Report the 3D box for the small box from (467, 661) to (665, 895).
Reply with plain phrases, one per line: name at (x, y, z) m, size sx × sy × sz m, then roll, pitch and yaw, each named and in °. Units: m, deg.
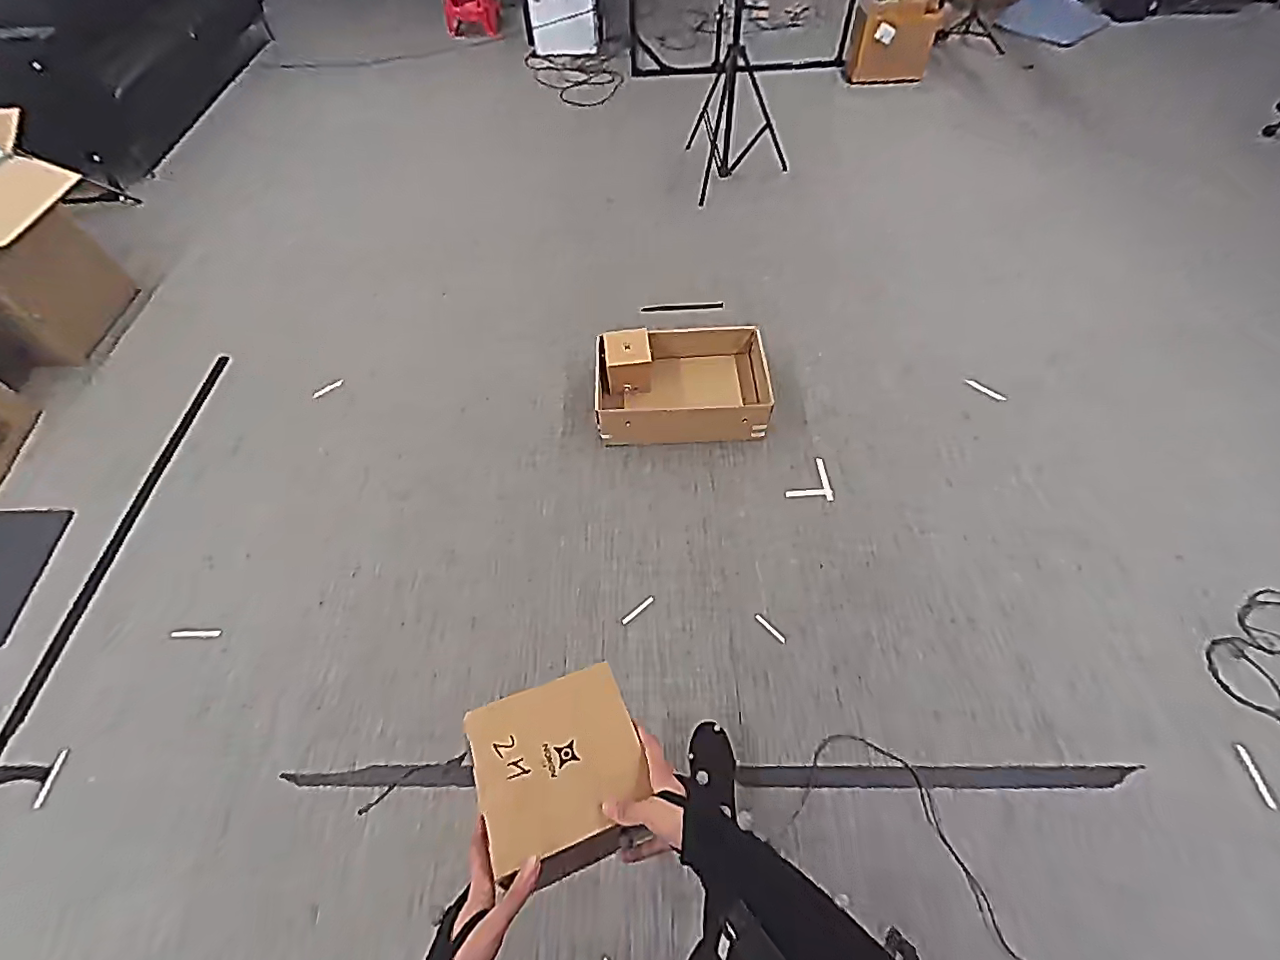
small box at (-0.087, 0.346, 0.630) m, size 0.179 × 0.176 × 0.168 m, roll -15°, pitch 49°, yaw -16°
